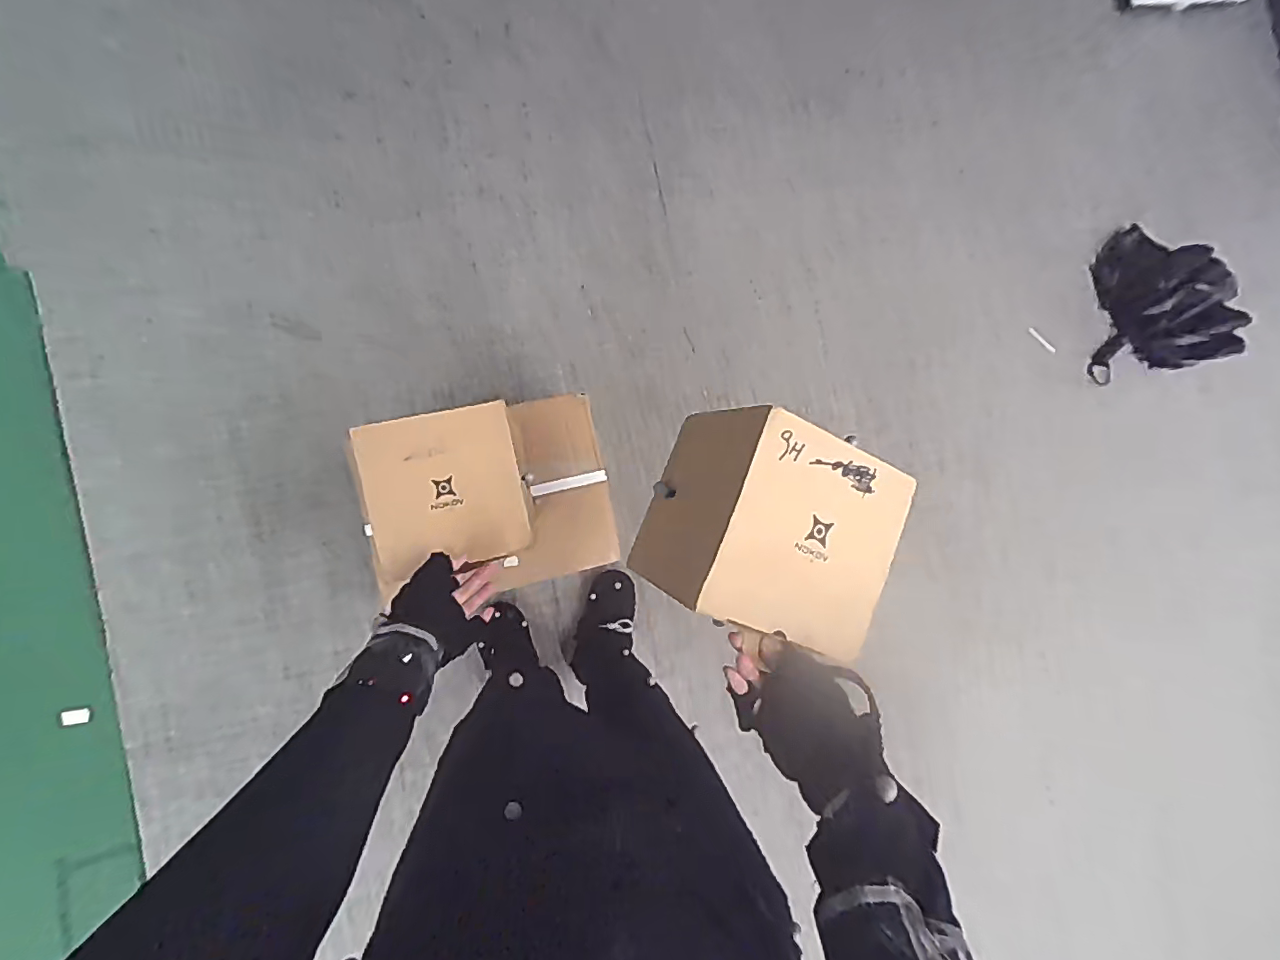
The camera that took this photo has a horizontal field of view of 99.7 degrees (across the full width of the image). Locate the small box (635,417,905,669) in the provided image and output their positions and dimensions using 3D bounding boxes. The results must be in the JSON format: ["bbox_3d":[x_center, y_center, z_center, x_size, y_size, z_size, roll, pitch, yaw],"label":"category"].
[{"bbox_3d":[0.110,0.052,0.527,0.168,0.176,0.179,22,86,-19],"label":"small box"}]

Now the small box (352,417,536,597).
[{"bbox_3d":[-0.230,0.027,0.681,0.168,0.176,0.179,-13,93,-10],"label":"small box"}]
